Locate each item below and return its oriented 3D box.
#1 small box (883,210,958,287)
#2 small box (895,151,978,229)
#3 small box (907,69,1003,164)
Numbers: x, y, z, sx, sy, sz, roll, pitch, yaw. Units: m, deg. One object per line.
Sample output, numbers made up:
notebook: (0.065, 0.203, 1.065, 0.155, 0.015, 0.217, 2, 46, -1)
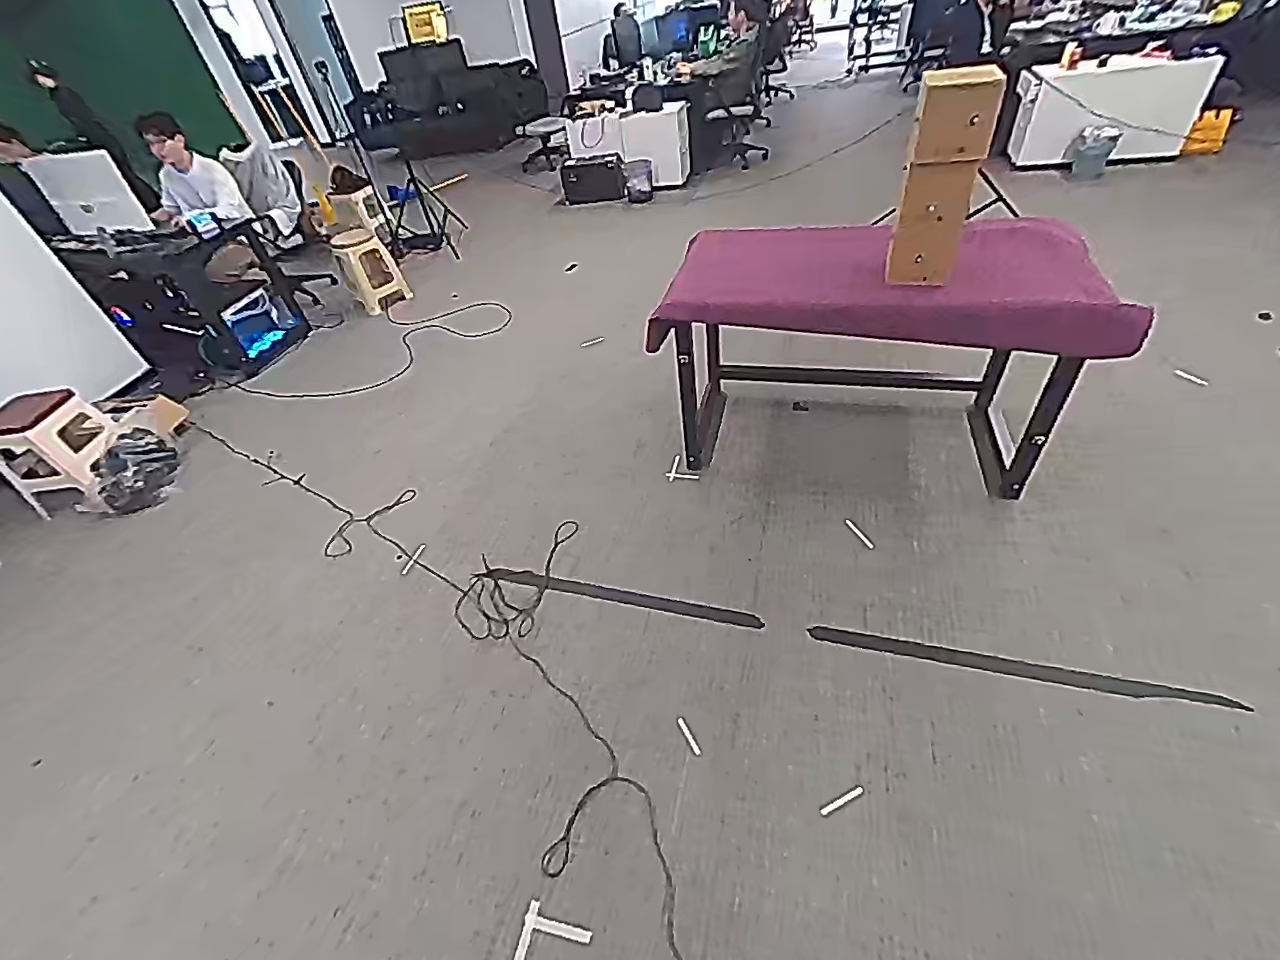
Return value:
small box: (0.822, -0.685, 1.595, 0.168, 0.176, 0.179, 9, 46, 18)
small box: (0.805, -0.805, 1.484, 0.168, 0.176, 0.179, 8, 46, 18)
small box: (0.781, -0.907, 1.358, 0.168, 0.176, 0.179, 6, 45, 15)
